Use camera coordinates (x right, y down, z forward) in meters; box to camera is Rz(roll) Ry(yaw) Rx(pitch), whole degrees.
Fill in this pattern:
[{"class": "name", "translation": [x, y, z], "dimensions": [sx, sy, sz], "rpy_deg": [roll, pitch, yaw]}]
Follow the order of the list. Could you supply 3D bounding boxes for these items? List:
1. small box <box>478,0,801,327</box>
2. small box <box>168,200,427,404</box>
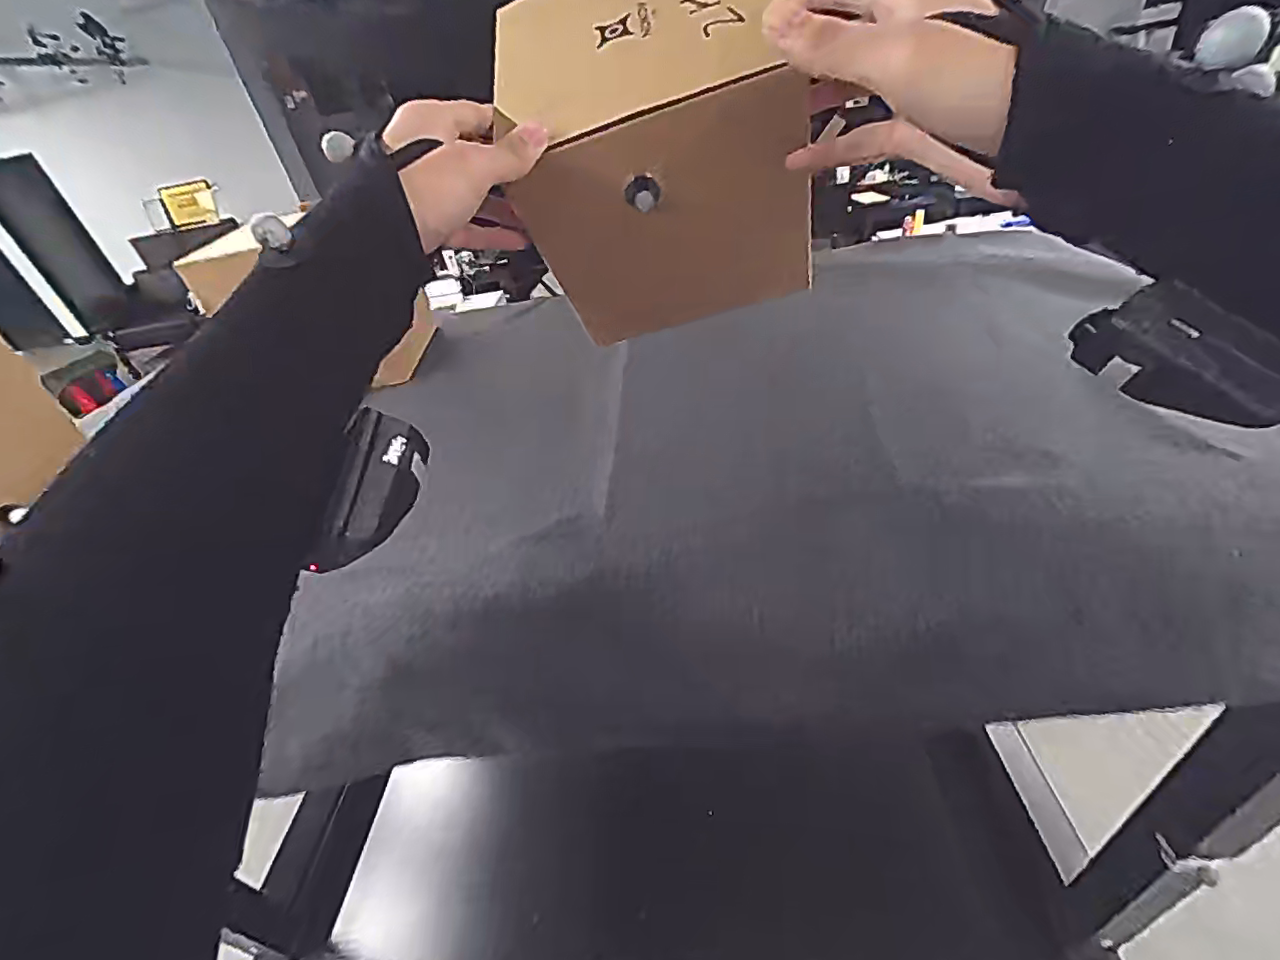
[{"class": "small box", "translation": [0.010, -0.235, 0.384], "dimensions": [0.179, 0.176, 0.168], "rpy_deg": [-11, 64, 13]}, {"class": "small box", "translation": [-0.370, -0.210, 0.631], "dimensions": [0.168, 0.176, 0.179], "rpy_deg": [-12, 36, 1]}]
